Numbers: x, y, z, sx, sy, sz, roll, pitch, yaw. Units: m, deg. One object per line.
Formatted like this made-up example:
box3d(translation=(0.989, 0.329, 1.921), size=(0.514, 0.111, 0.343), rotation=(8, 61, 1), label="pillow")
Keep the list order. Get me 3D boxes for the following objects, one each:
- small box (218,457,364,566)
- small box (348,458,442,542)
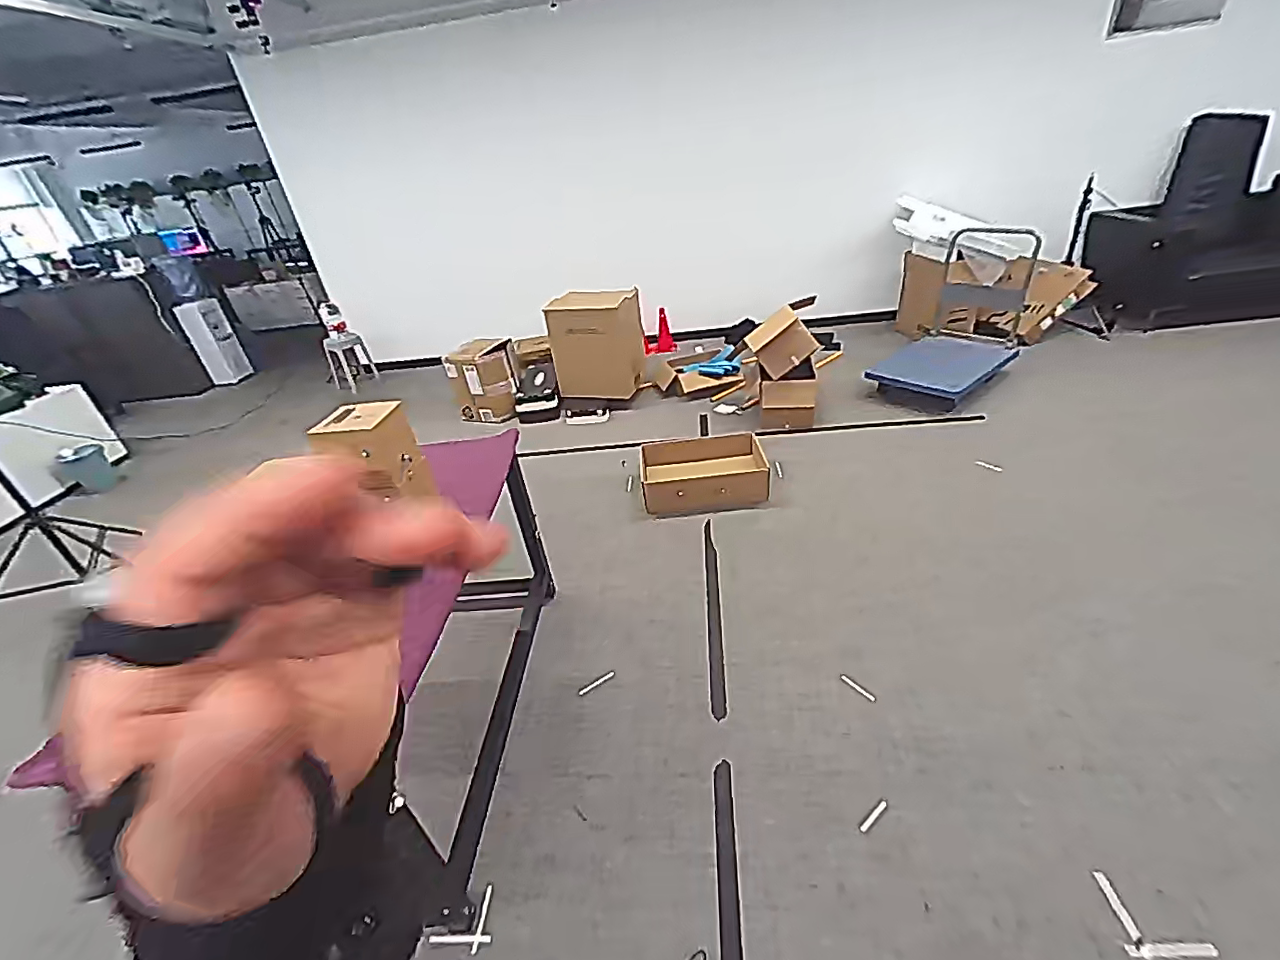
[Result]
box3d(translation=(-0.736, 0.069, 1.167), size=(0.179, 0.176, 0.168), rotation=(-6, 31, 6), label="small box")
box3d(translation=(-0.677, 0.058, 1.489), size=(0.179, 0.176, 0.168), rotation=(-5, 32, 7), label="small box")
